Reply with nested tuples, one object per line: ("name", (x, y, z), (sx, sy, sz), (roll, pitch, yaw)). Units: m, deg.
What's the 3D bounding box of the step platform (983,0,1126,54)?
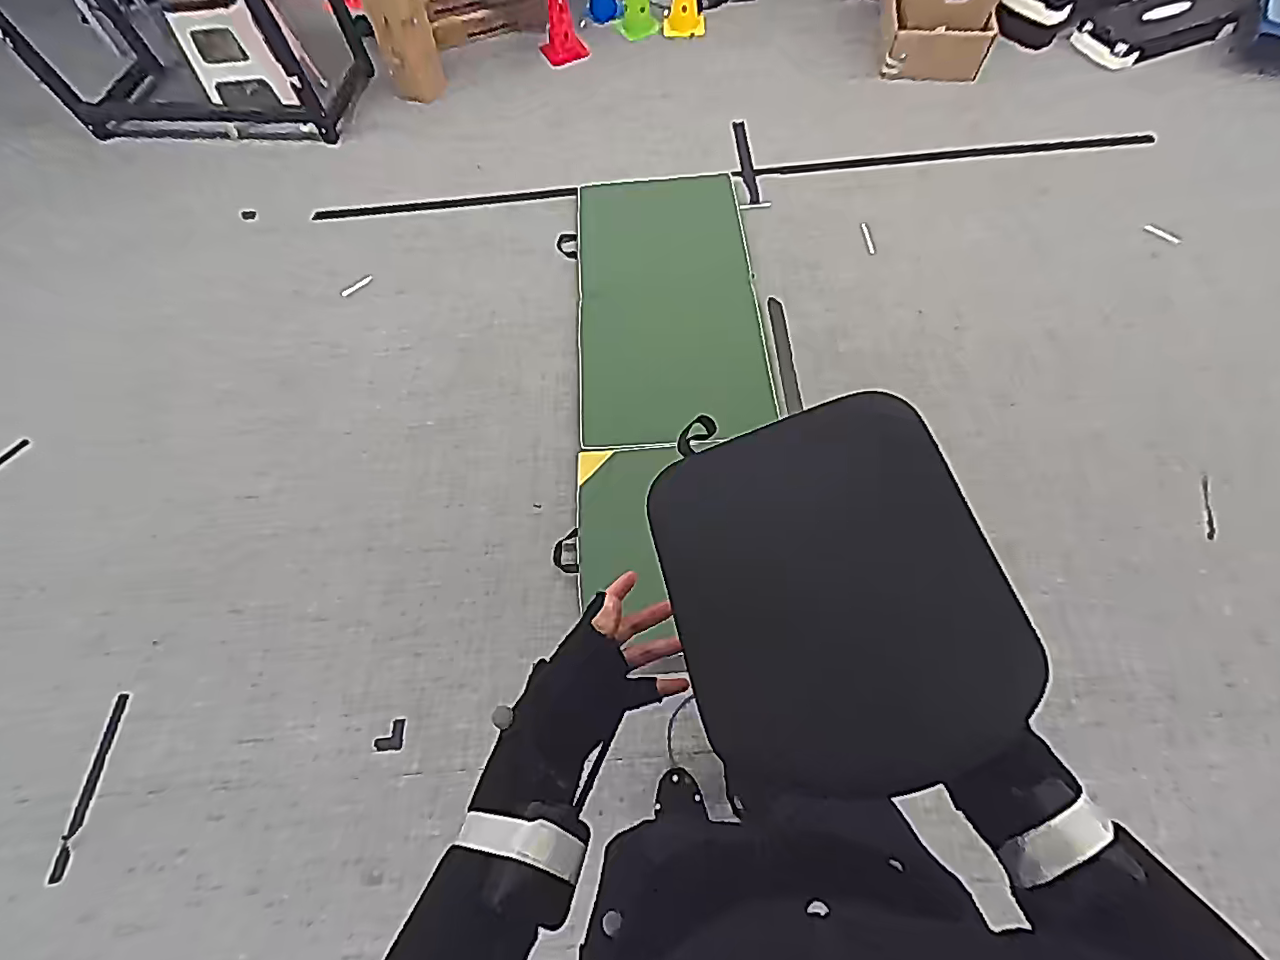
("step platform", (1.939, -2.211, 2.463), (0.684, 0.204, 0.286), (-31, 67, -11))
